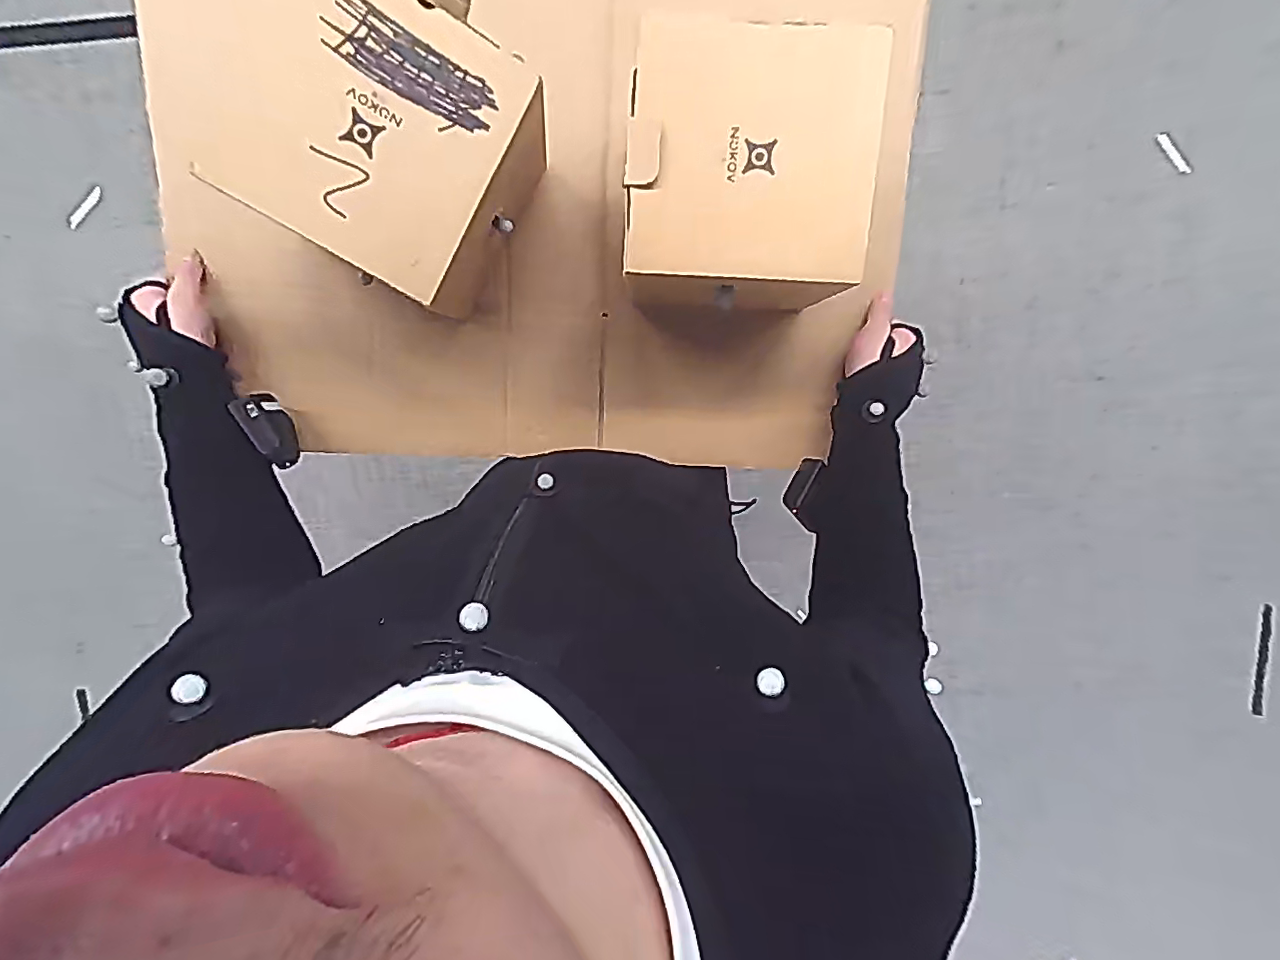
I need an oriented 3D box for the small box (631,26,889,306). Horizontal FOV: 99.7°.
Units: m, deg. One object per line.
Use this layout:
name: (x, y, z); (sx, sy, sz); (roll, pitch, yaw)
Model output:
small box: (0.086, -0.249, 0.473); (0.179, 0.176, 0.168); (3, 102, 1)
